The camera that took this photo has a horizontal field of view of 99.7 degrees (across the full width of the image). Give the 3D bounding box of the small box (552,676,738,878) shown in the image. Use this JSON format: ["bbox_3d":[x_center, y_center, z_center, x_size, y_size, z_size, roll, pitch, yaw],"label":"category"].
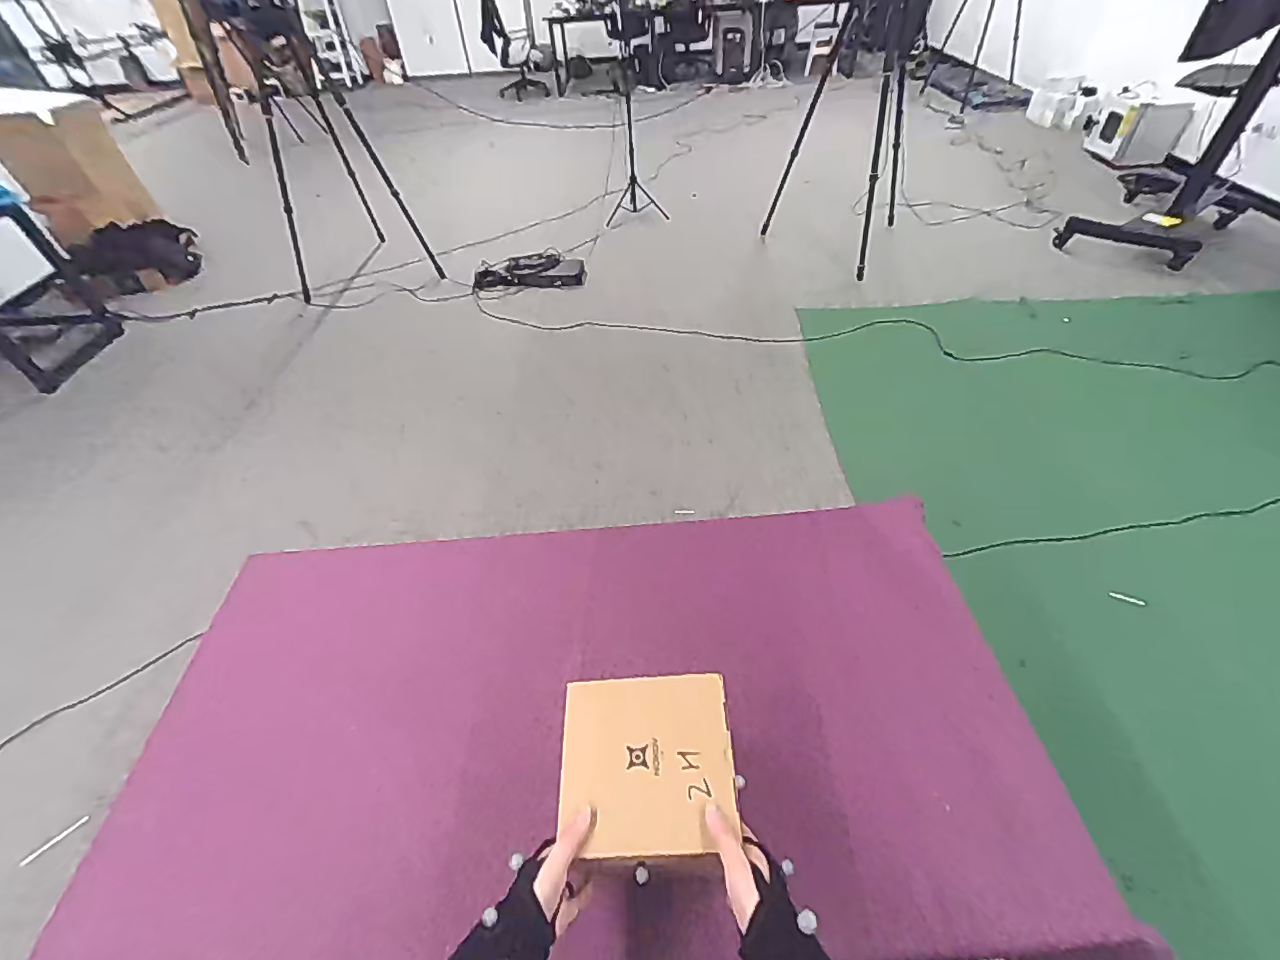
[{"bbox_3d":[0.013,0.336,0.606,0.179,0.176,0.168,-5,49,4],"label":"small box"}]
